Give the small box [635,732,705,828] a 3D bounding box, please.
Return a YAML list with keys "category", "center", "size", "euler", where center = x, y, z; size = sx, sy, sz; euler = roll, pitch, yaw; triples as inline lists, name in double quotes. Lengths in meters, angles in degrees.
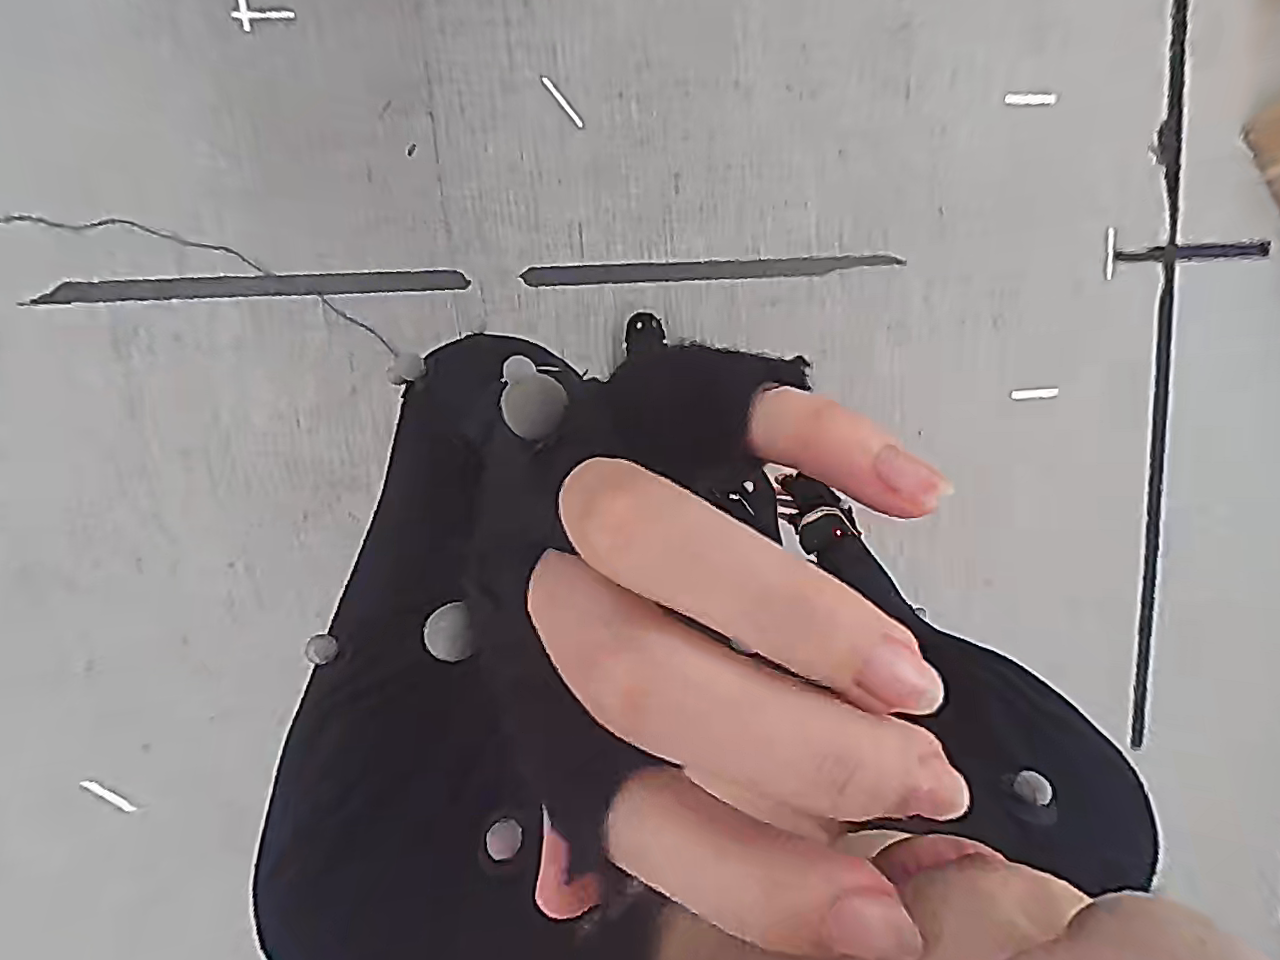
- category: "small box"
  center: [0.079, 0.846, 1.539]
  size: [0.179, 0.176, 0.168]
  euler: [-6, 98, -6]
